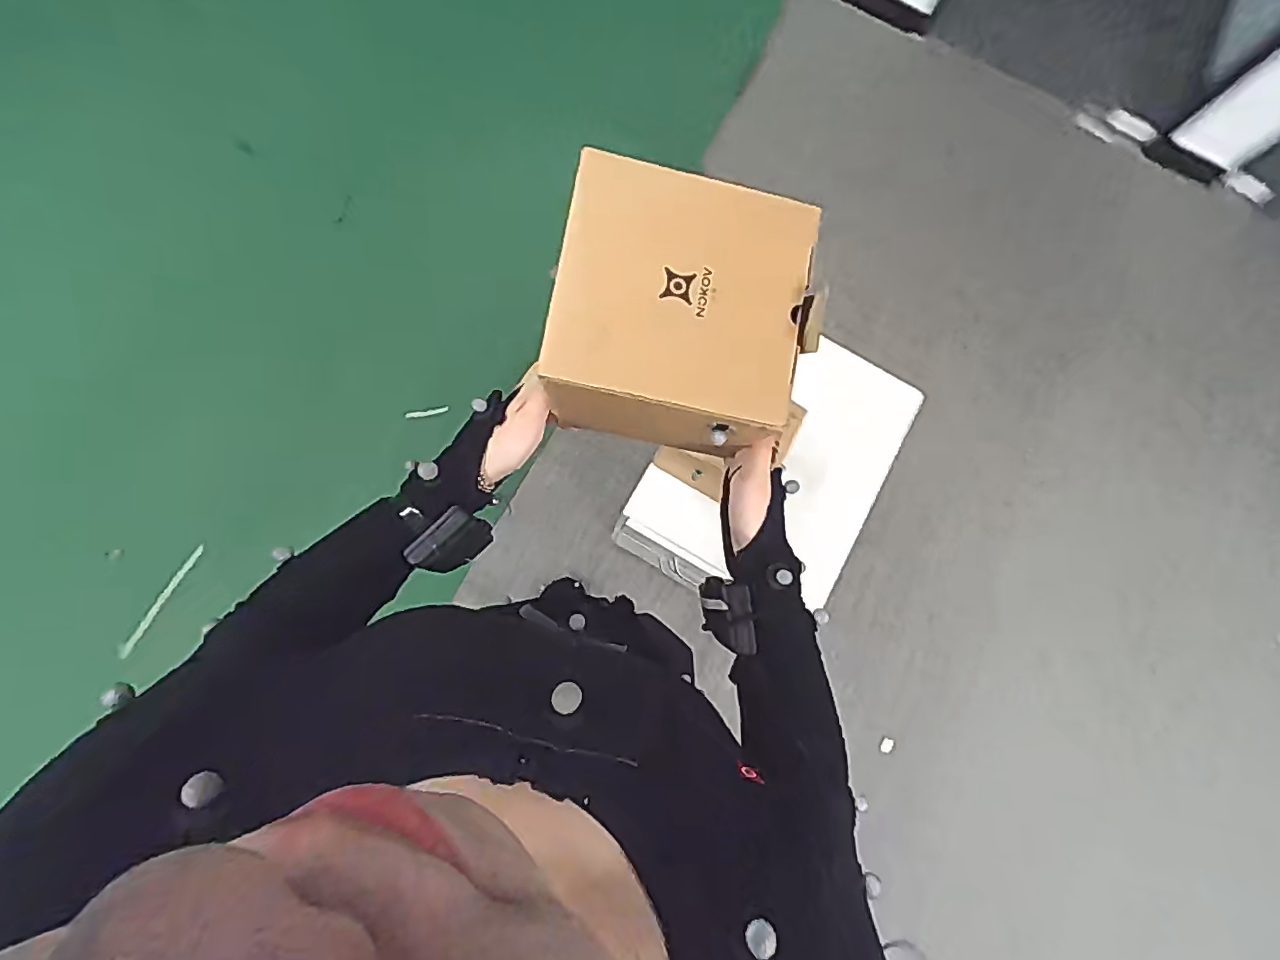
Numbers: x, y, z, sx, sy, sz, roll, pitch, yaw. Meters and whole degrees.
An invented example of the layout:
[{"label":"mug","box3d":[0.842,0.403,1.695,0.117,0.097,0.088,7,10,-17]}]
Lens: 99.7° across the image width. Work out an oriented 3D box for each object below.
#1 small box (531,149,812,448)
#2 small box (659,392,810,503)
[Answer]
[{"label":"small box","box3d":[0.017,-0.127,0.450,0.179,0.176,0.168,10,85,-6]},{"label":"small box","box3d":[0.148,-0.075,0.917,0.179,0.176,0.168,30,79,0]}]
